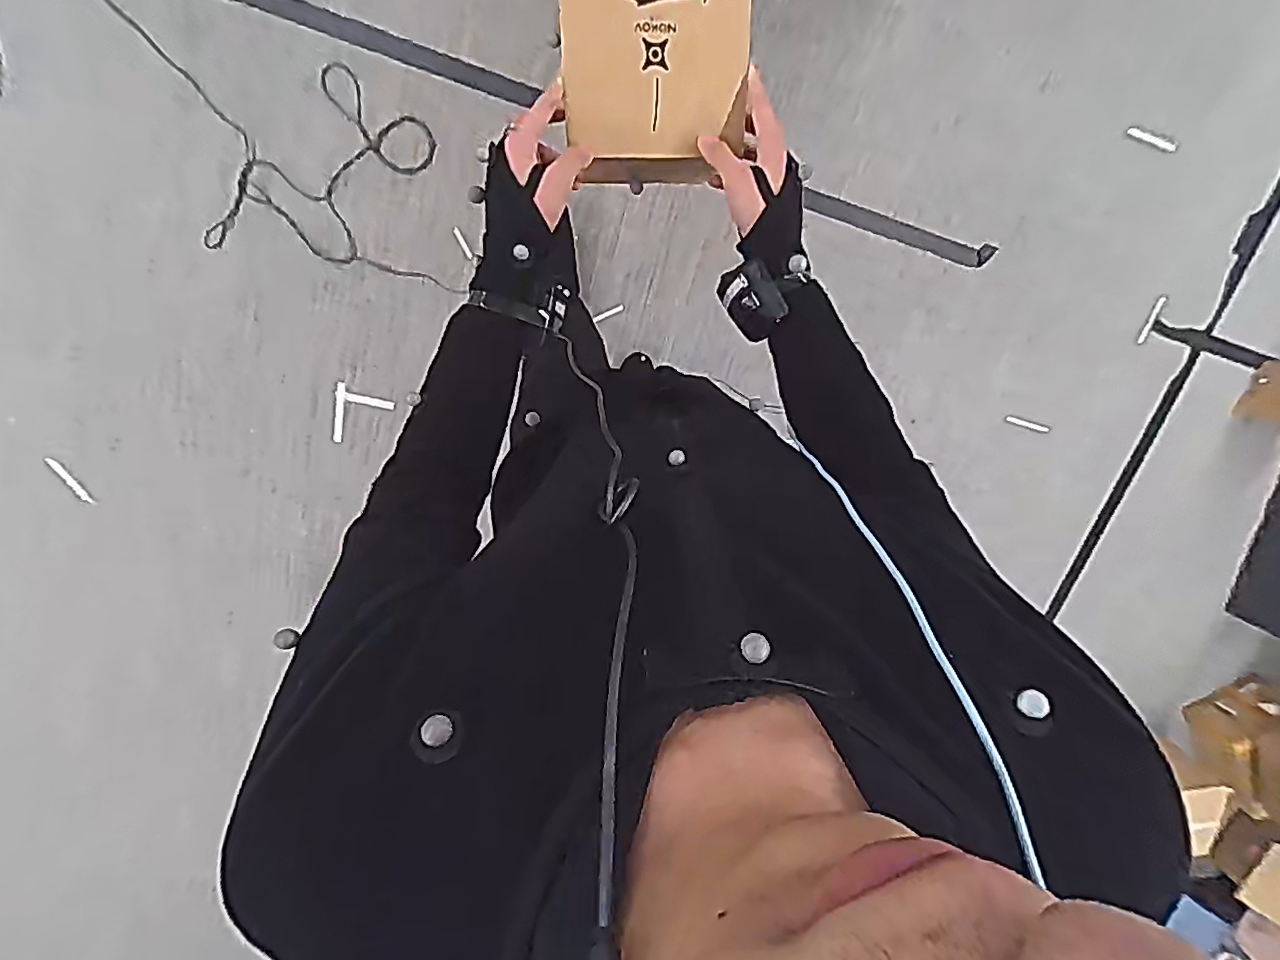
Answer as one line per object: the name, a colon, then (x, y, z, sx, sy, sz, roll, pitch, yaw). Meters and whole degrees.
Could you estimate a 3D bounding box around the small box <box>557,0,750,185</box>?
small box: (0.003, -0.407, 0.539, 0.168, 0.176, 0.179, -3, 112, -6)
